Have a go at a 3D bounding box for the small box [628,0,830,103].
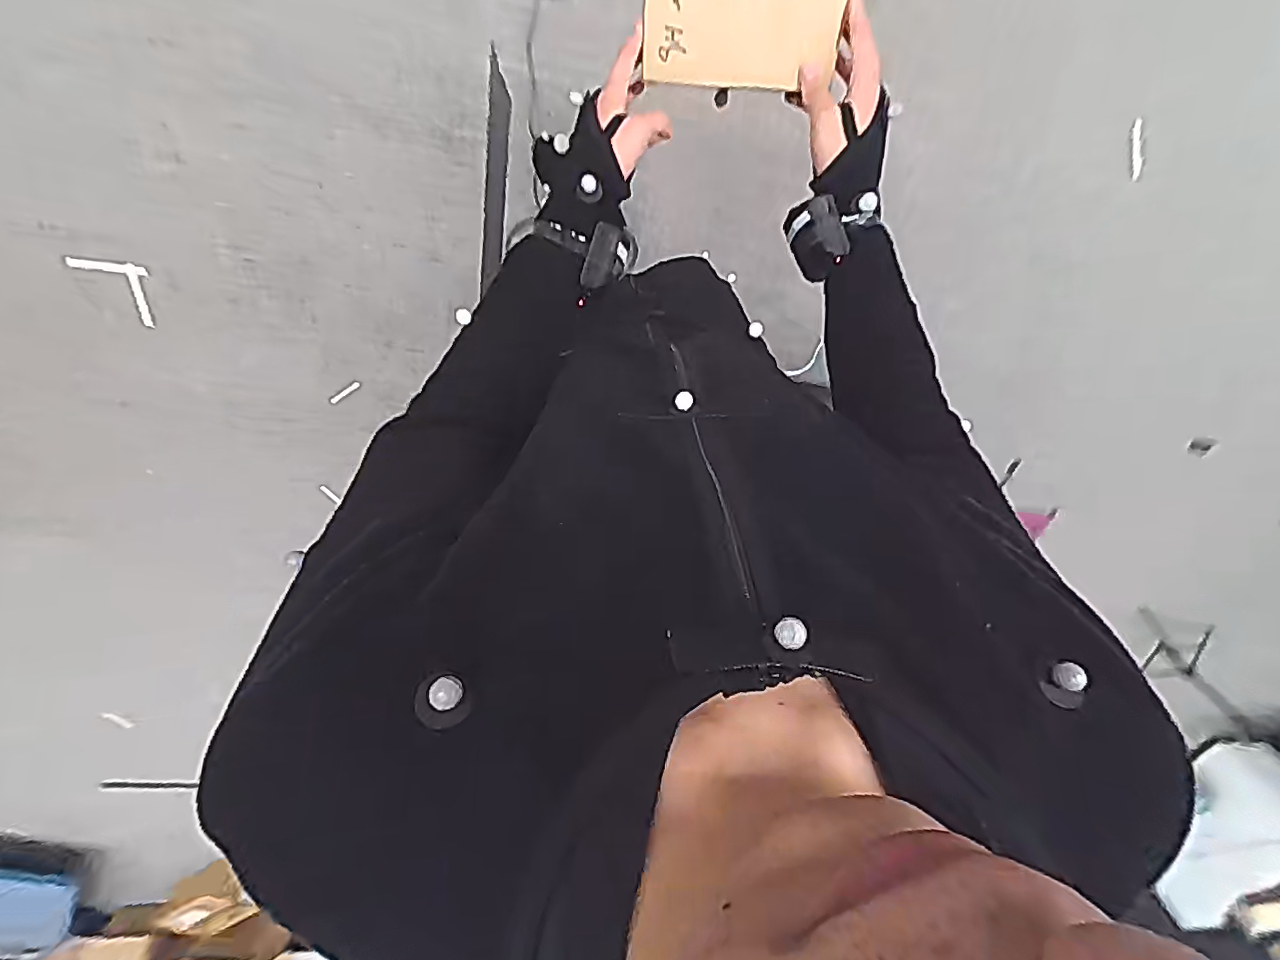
[{"bbox_3d":[0.080,-0.473,0.523,0.179,0.176,0.168,2,126,0],"label":"small box"}]
